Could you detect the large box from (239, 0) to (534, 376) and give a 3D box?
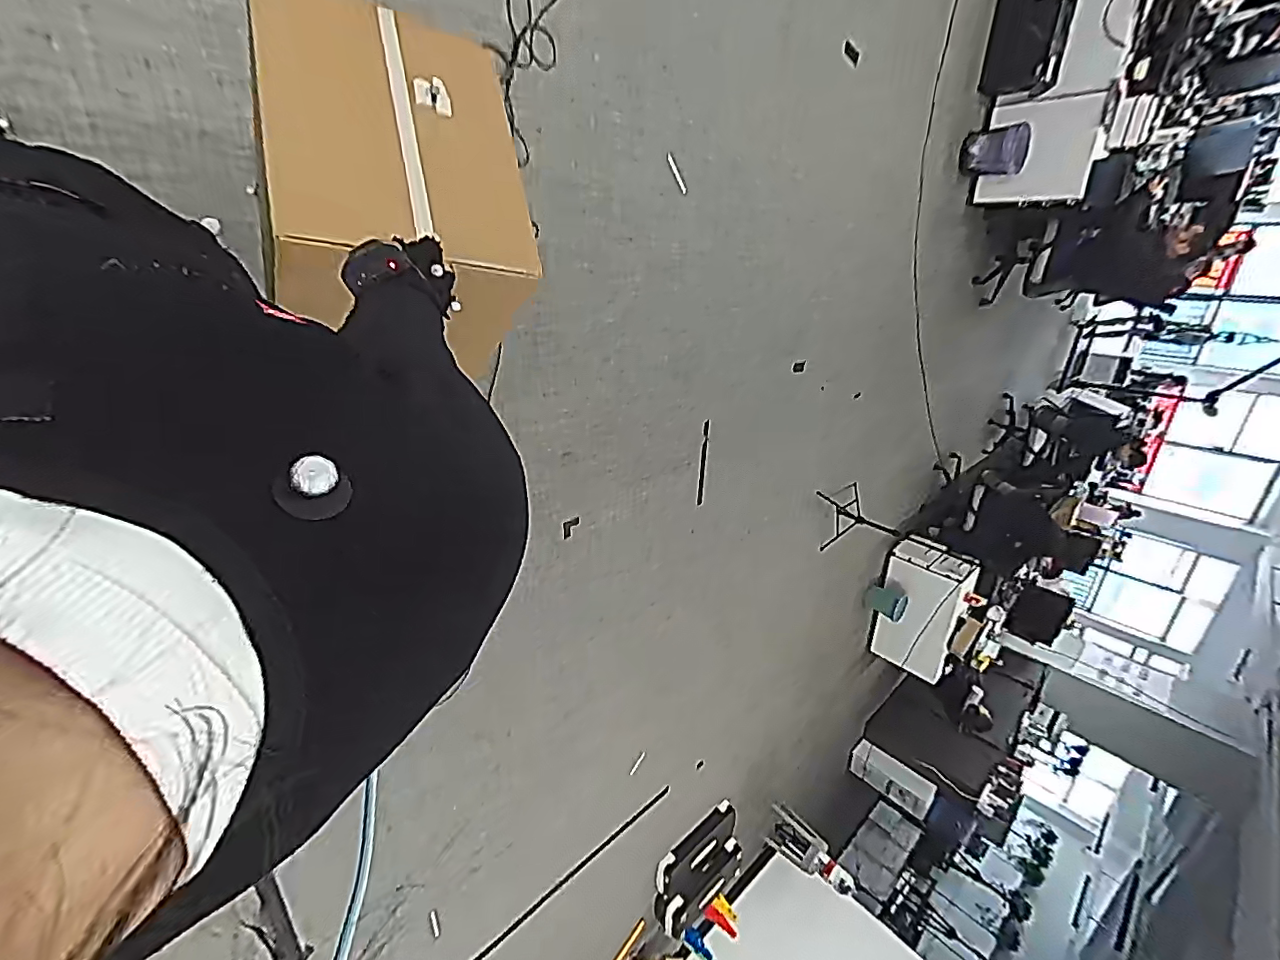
[{"bbox_3d":[-0.404,-0.409,0.836,0.320,0.320,0.408,-6,73,-37],"label":"large box"}]
